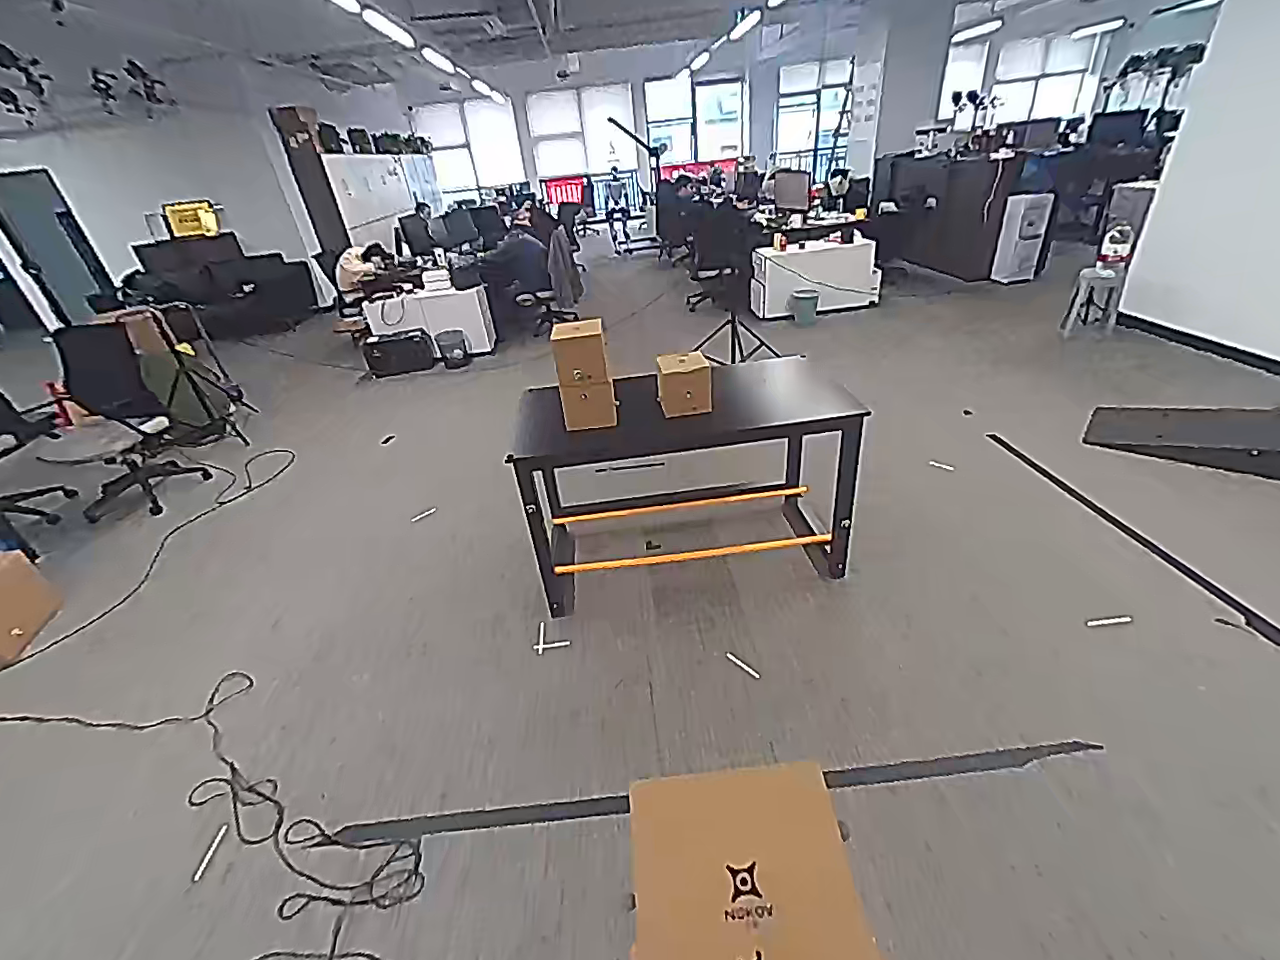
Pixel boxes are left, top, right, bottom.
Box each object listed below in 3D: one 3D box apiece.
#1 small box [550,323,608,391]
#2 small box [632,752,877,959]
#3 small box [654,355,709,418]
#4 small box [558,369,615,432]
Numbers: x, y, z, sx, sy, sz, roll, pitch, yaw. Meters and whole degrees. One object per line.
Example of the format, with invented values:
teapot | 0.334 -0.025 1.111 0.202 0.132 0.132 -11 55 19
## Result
small box | -0.203 -0.416 1.827 0.168 0.176 0.179 -9 32 0
small box | 0.085 0.361 0.461 0.168 0.176 0.179 -8 43 1
small box | 0.149 -0.330 1.935 0.168 0.176 0.179 -8 31 -2
small box | -0.184 -0.279 1.913 0.179 0.176 0.168 -6 31 -1
